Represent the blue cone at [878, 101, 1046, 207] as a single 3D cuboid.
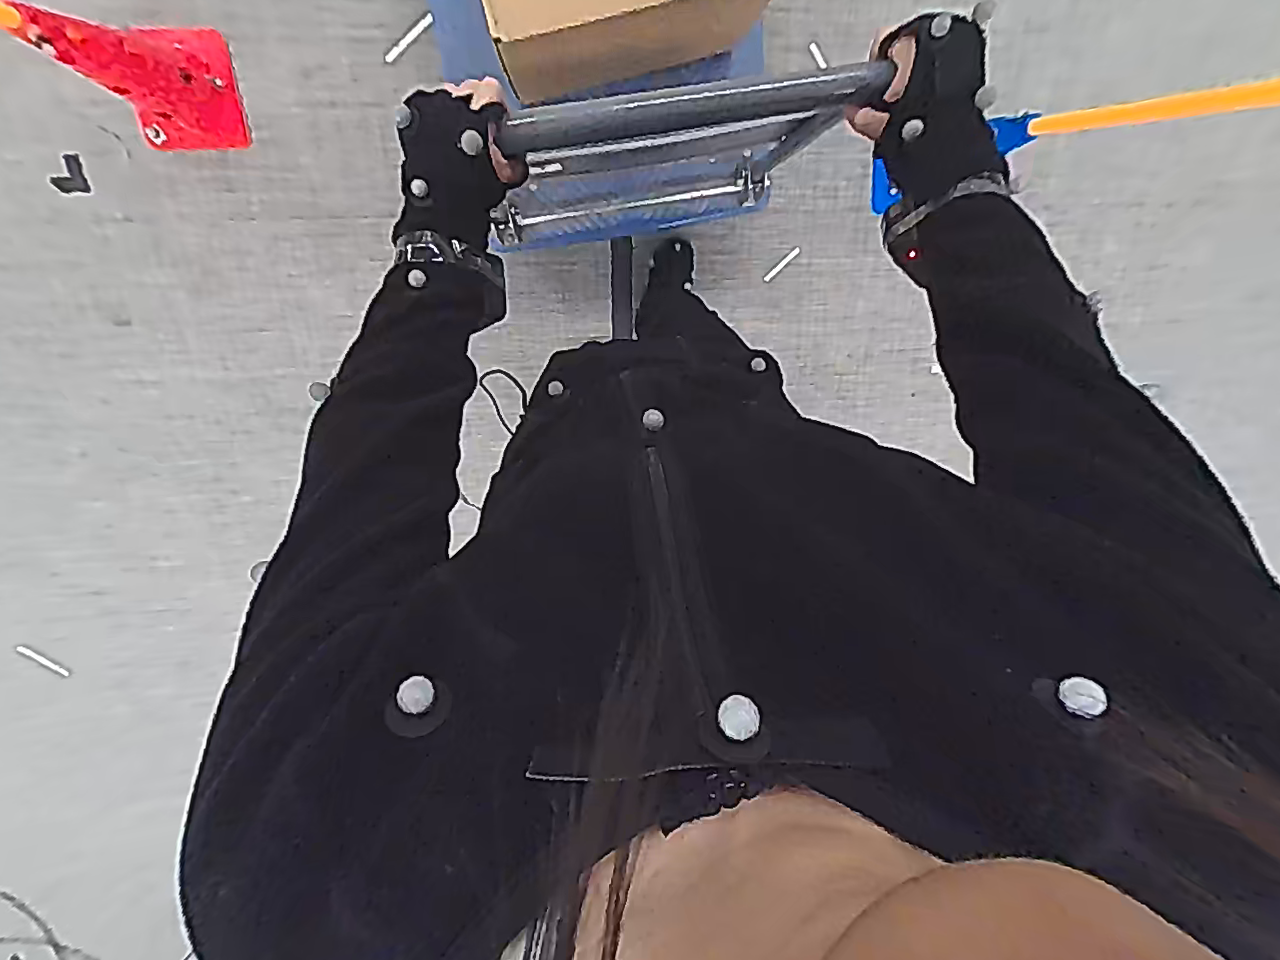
[{"bbox_3d":[0.659,-0.684,1.099,0.193,0.380,0.192,-7,111,-4],"label":"blue cone"}]
